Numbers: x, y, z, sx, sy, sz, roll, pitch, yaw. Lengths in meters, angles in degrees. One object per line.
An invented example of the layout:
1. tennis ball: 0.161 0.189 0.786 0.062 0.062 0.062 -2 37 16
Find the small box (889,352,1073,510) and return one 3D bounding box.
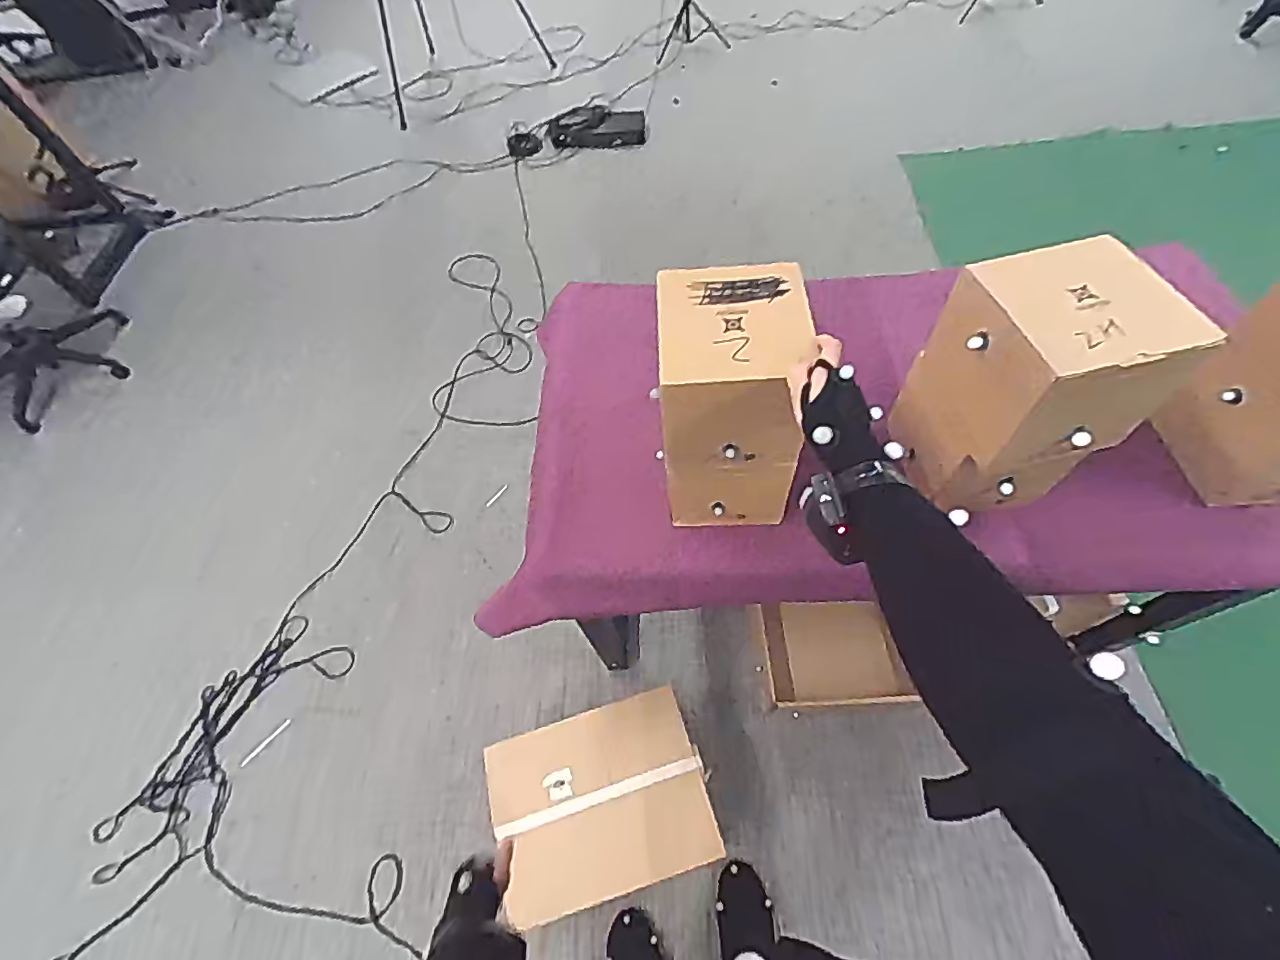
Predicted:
1. small box: 0.480 -0.069 0.767 0.168 0.176 0.179 -6 57 2

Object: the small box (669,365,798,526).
1. small box: 0.127 -0.048 0.798 0.168 0.176 0.179 -2 58 5

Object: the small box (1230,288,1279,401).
1. small box: 0.837 -0.167 0.591 0.168 0.176 0.179 -6 57 5

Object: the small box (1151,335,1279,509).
1. small box: 0.860 -0.079 0.725 0.168 0.176 0.179 -4 57 6

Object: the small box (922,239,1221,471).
1. small box: 0.457 -0.137 0.615 0.168 0.176 0.179 -12 57 0
